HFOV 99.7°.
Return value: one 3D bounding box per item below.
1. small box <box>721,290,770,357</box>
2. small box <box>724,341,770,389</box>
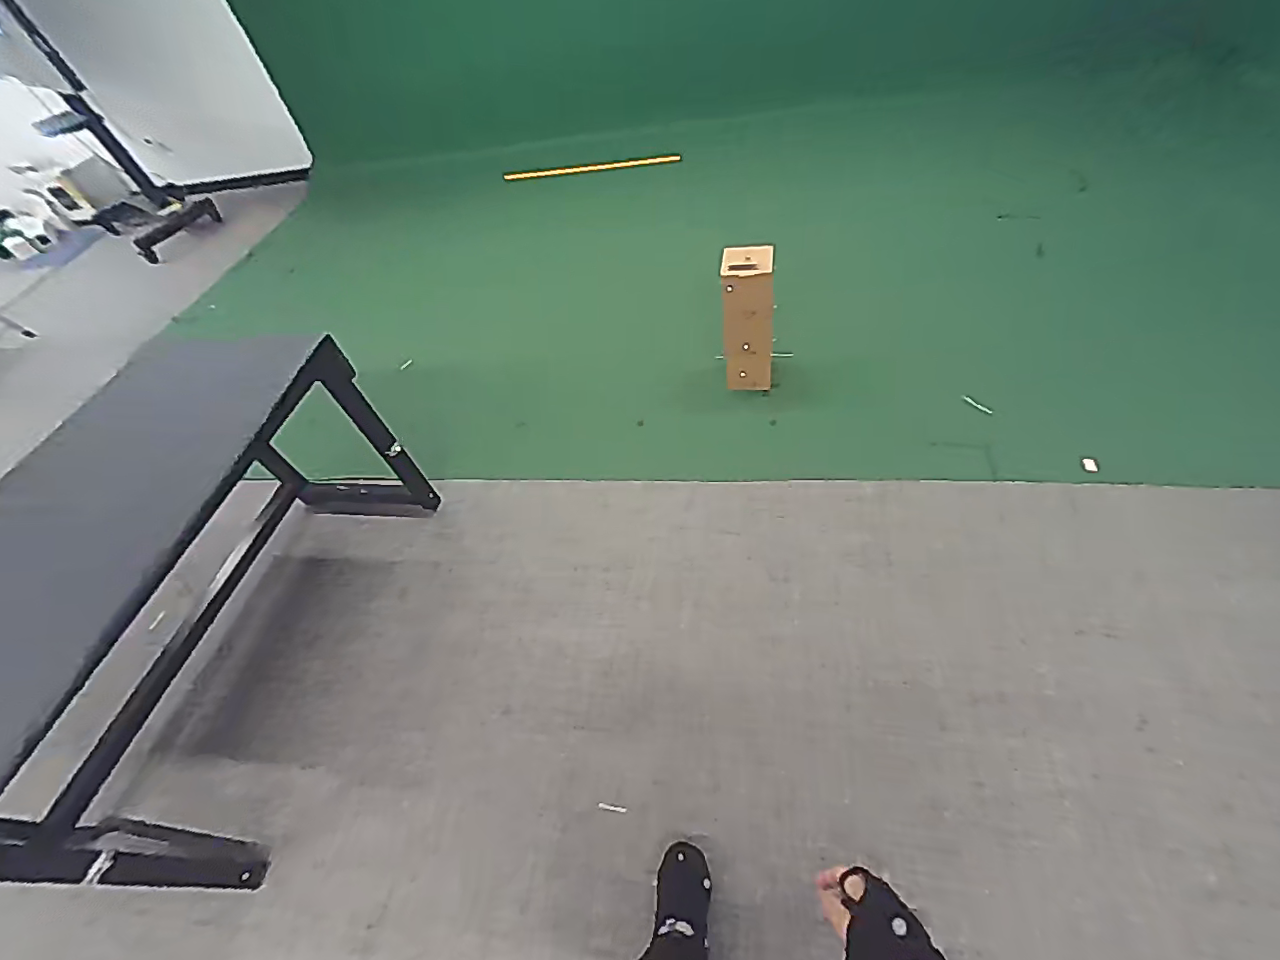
[{"bbox_3d":[0.387,-0.567,1.967,0.168,0.176,0.179,1,52,15],"label":"small box"},{"bbox_3d":[0.419,-0.465,2.092,0.168,0.176,0.179,-1,51,13],"label":"small box"}]
